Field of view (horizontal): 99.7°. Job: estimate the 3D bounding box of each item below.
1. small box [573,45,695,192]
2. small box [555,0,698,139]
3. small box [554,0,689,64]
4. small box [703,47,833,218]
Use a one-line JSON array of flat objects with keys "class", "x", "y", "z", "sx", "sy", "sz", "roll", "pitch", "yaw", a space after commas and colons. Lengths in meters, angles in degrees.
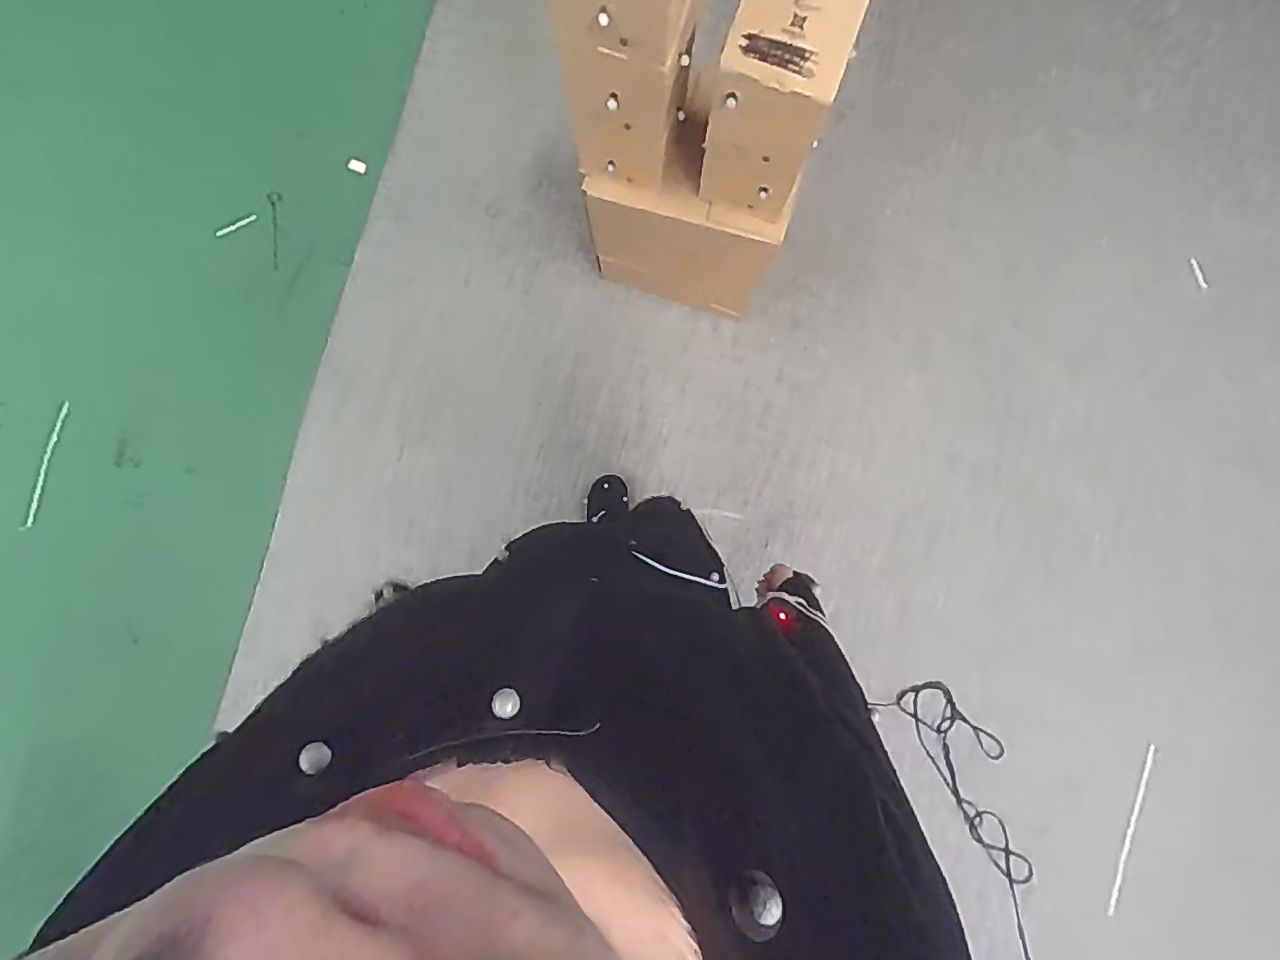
[{"class": "small box", "x": -0.012, "y": -0.665, "z": 0.976, "sx": 0.168, "sy": 0.176, "sz": 0.179, "roll": 17, "pitch": 91, "yaw": -1}, {"class": "small box", "x": -0.013, "y": -0.660, "z": 0.812, "sx": 0.168, "sy": 0.176, "sz": 0.179, "roll": 18, "pitch": 91, "yaw": -1}, {"class": "small box", "x": -0.014, "y": -0.663, "z": 0.647, "sx": 0.168, "sy": 0.176, "sz": 0.179, "roll": 18, "pitch": 90, "yaw": 0}, {"class": "small box", "x": 0.219, "y": -0.610, "z": 0.974, "sx": 0.168, "sy": 0.176, "sz": 0.179, "roll": 19, "pitch": 89, "yaw": 1}]
